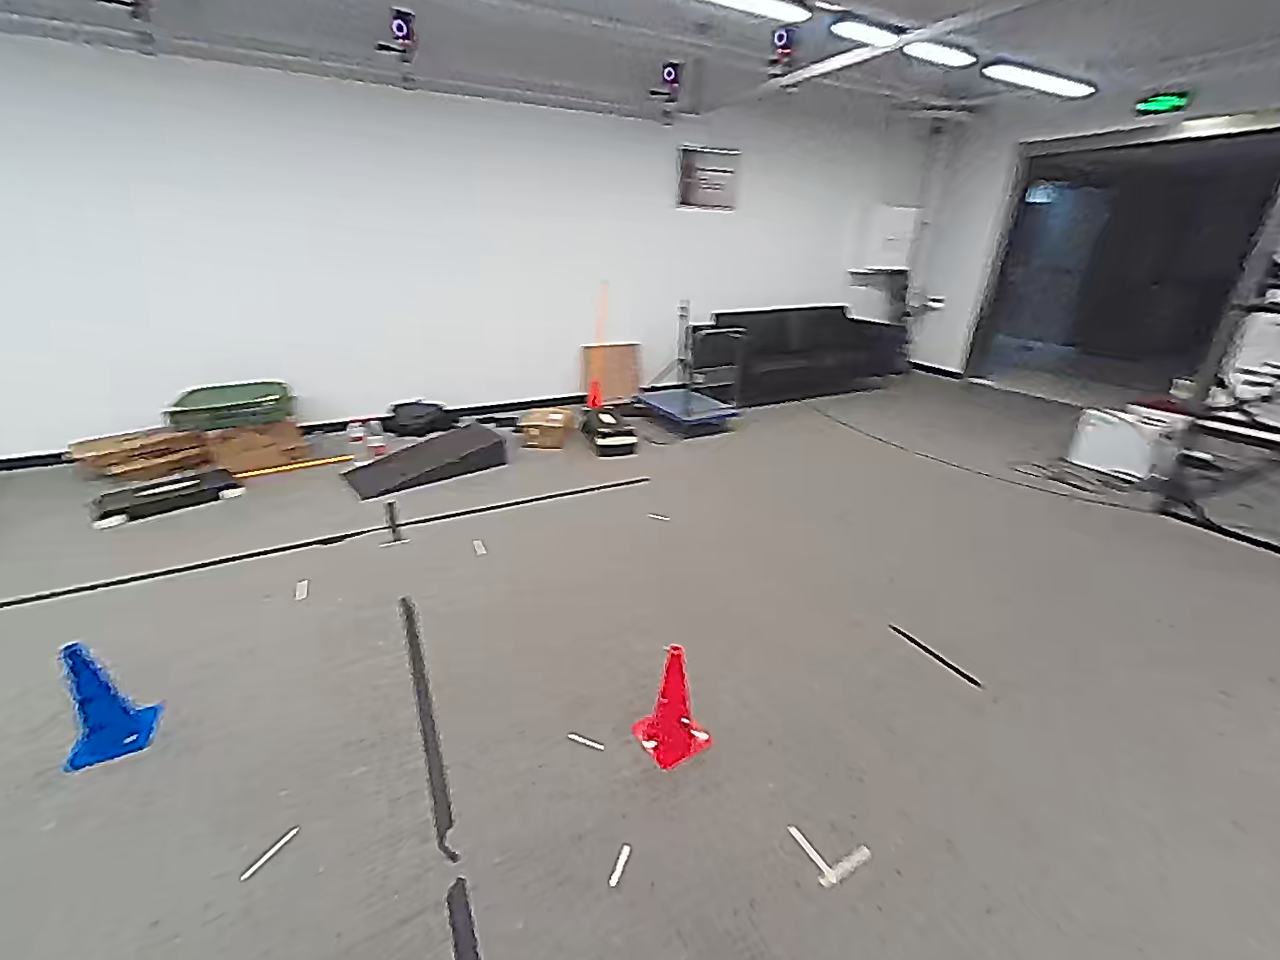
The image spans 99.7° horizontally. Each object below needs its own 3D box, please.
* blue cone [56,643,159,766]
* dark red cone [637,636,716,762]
[{"bbox_3d":[-1.644,0.645,1.630,0.192,0.380,0.193,-11,26,-23],"label":"blue cone"},{"bbox_3d":[0.117,0.641,1.658,0.201,0.394,0.202,-15,28,-31],"label":"dark red cone"}]
